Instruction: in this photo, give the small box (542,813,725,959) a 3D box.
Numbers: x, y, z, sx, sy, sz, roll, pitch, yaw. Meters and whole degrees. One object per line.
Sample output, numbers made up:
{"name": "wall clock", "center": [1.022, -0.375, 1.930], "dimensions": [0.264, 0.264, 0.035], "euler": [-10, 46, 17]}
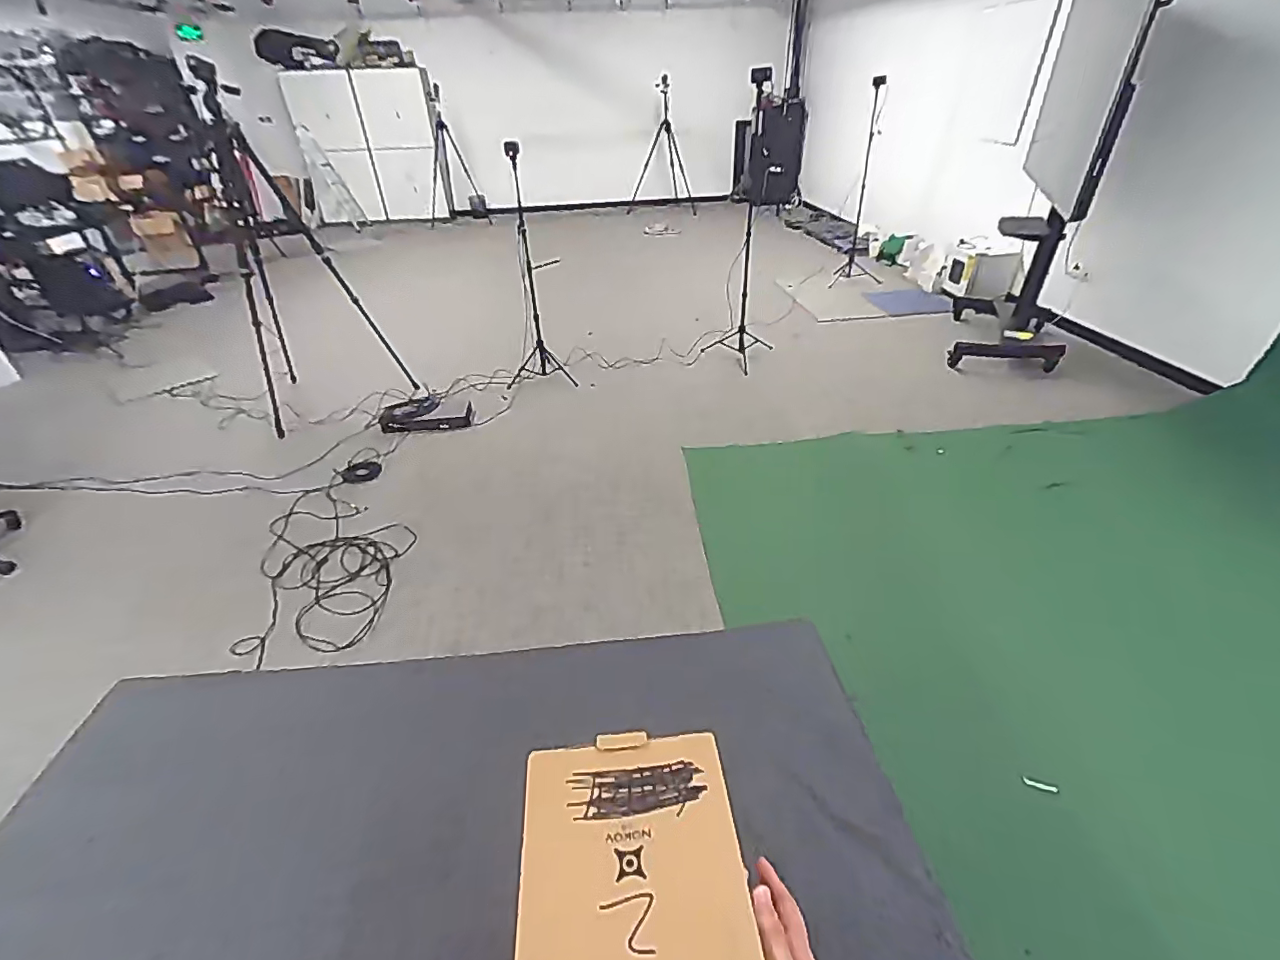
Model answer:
{"name": "small box", "center": [-0.005, 0.474, 0.544], "dimensions": [0.168, 0.176, 0.179], "euler": [-5, 35, -4]}
